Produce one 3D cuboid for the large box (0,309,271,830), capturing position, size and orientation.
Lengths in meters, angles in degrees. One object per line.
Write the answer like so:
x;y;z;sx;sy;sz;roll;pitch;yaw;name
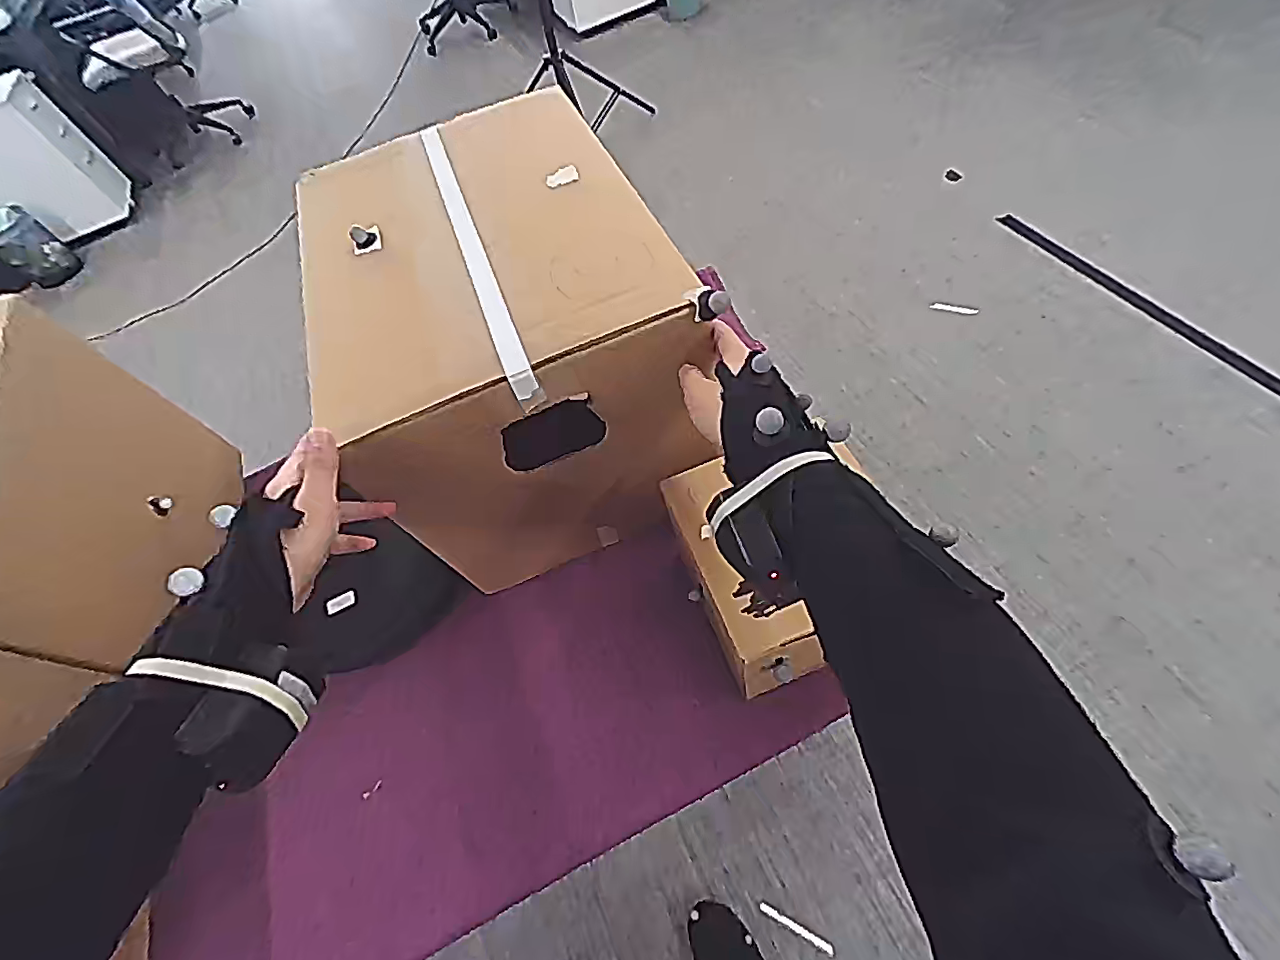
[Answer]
-0.674;0.103;0.586;0.320;0.320;0.408;-28;61;-6;large box
